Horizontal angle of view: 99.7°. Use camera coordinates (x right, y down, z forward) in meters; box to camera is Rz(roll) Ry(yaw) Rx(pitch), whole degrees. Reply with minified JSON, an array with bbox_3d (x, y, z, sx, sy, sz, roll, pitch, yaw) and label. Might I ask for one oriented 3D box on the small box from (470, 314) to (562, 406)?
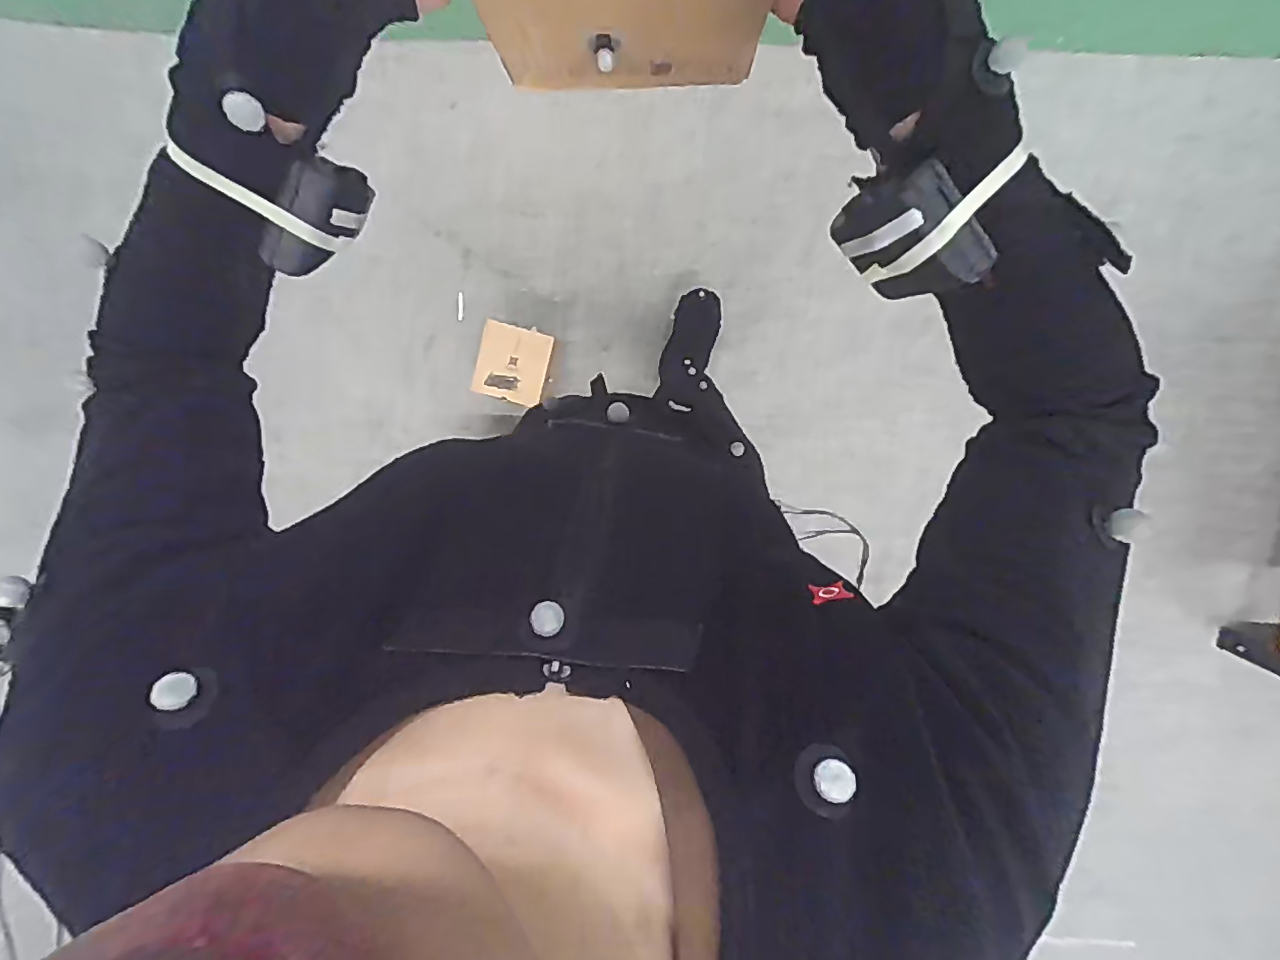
[{"bbox_3d":[-0.299,-0.292,1.340,0.168,0.176,0.179,16,99,-3],"label":"small box"}]
